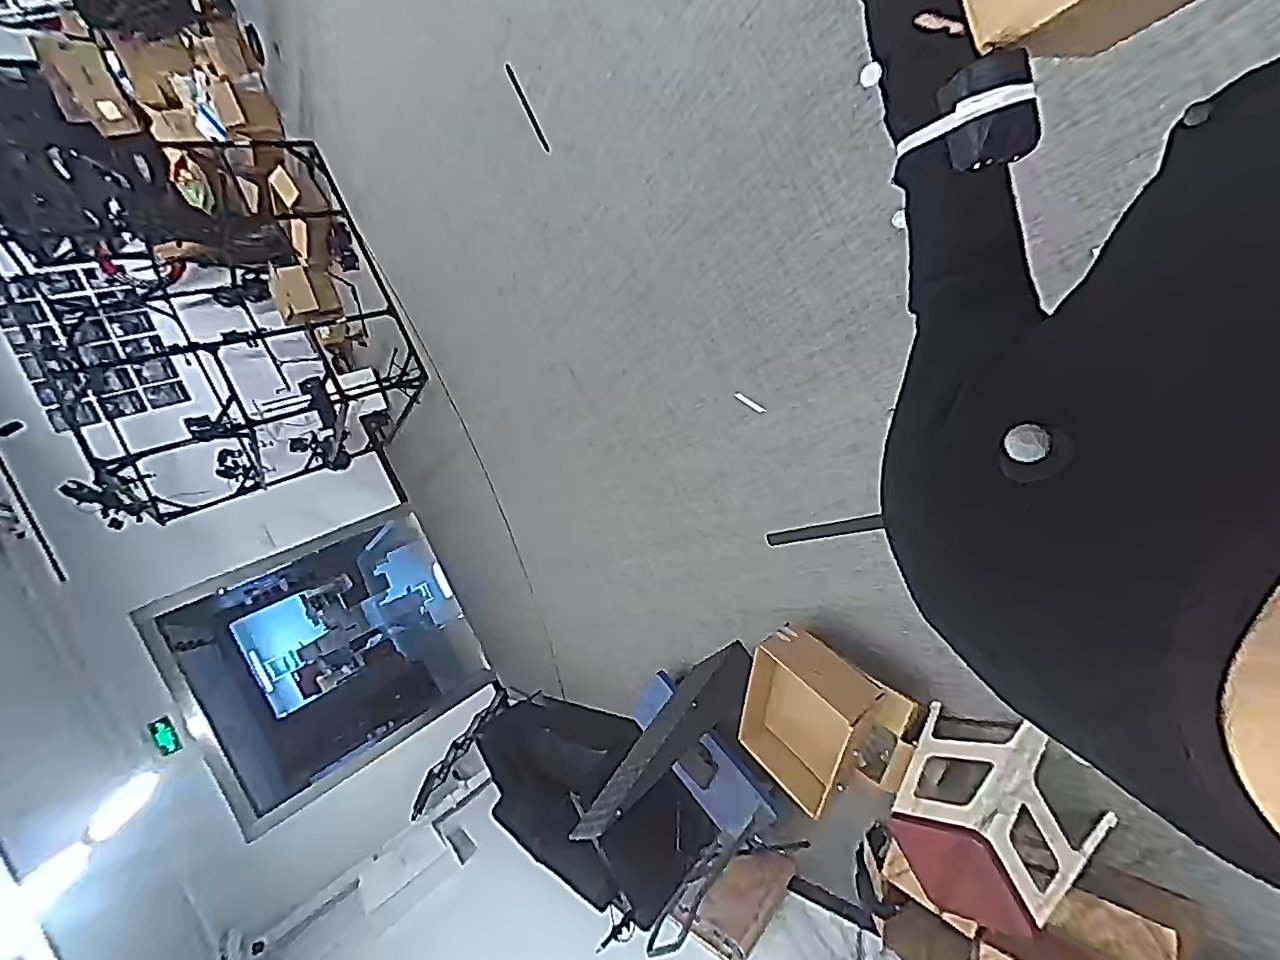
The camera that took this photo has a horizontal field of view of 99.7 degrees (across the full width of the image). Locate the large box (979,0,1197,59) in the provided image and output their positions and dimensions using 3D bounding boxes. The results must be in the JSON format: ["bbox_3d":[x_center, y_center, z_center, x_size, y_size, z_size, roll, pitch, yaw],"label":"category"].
[{"bbox_3d":[0.409,-0.522,0.285,0.408,0.320,0.320,-9,109,53],"label":"large box"}]
